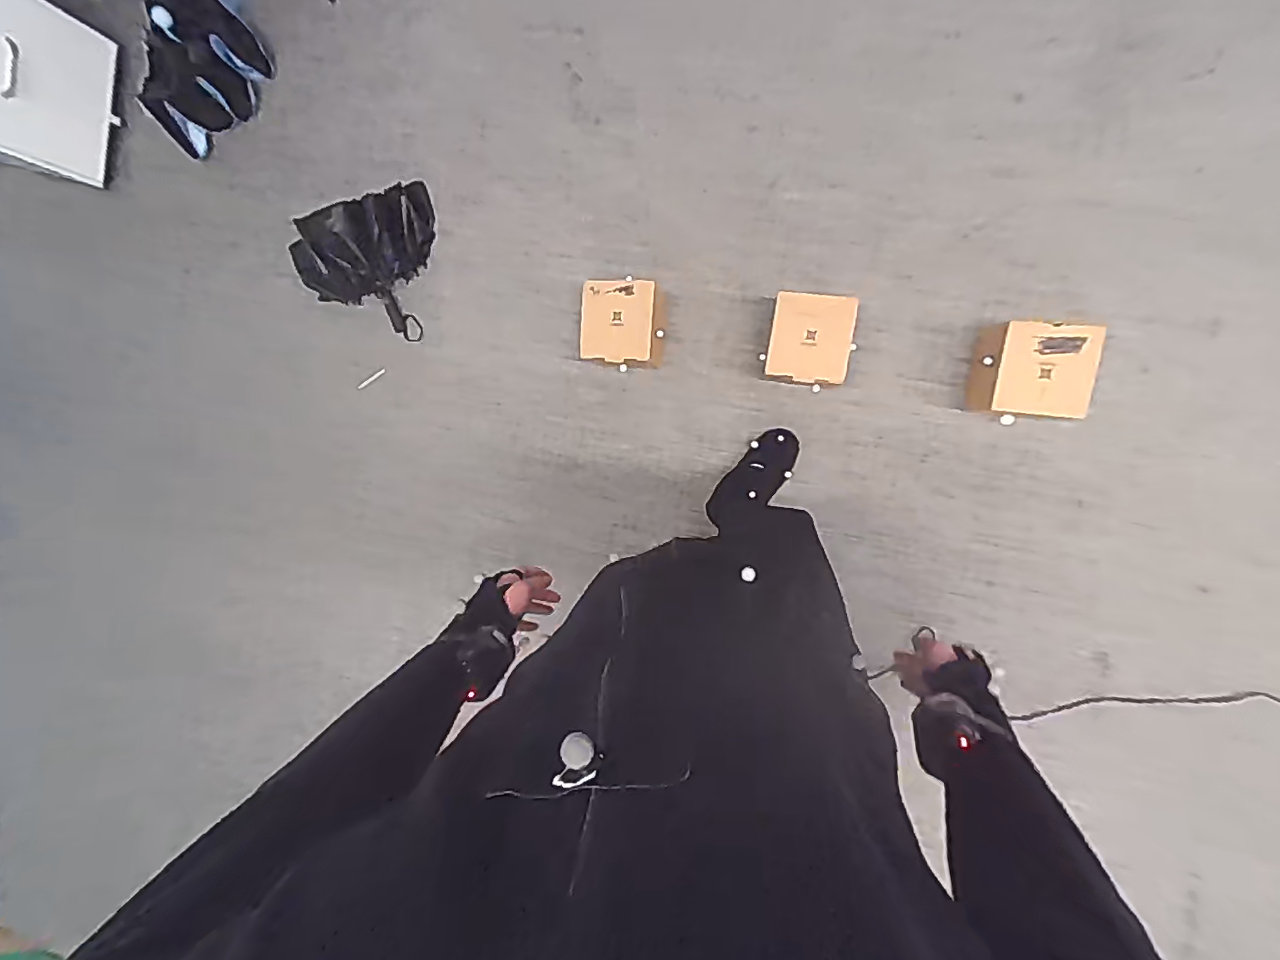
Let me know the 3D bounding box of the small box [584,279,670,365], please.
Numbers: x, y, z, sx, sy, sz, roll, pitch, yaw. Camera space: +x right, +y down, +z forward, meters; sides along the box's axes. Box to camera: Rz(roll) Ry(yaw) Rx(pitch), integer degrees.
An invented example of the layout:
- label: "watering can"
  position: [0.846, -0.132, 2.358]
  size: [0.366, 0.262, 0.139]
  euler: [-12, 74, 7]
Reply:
- label: "small box"
  position: [-0.026, -0.367, 1.279]
  size: [0.168, 0.176, 0.179]
  euler: [5, 98, 12]

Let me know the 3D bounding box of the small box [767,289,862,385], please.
- label: "small box"
  position: [0.377, -0.308, 1.195]
  size: [0.168, 0.176, 0.179]
  euler: [9, 97, 10]

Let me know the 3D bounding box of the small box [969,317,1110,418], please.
- label: "small box"
  position: [0.799, -0.223, 1.103]
  size: [0.168, 0.176, 0.179]
  euler: [8, 98, 13]
